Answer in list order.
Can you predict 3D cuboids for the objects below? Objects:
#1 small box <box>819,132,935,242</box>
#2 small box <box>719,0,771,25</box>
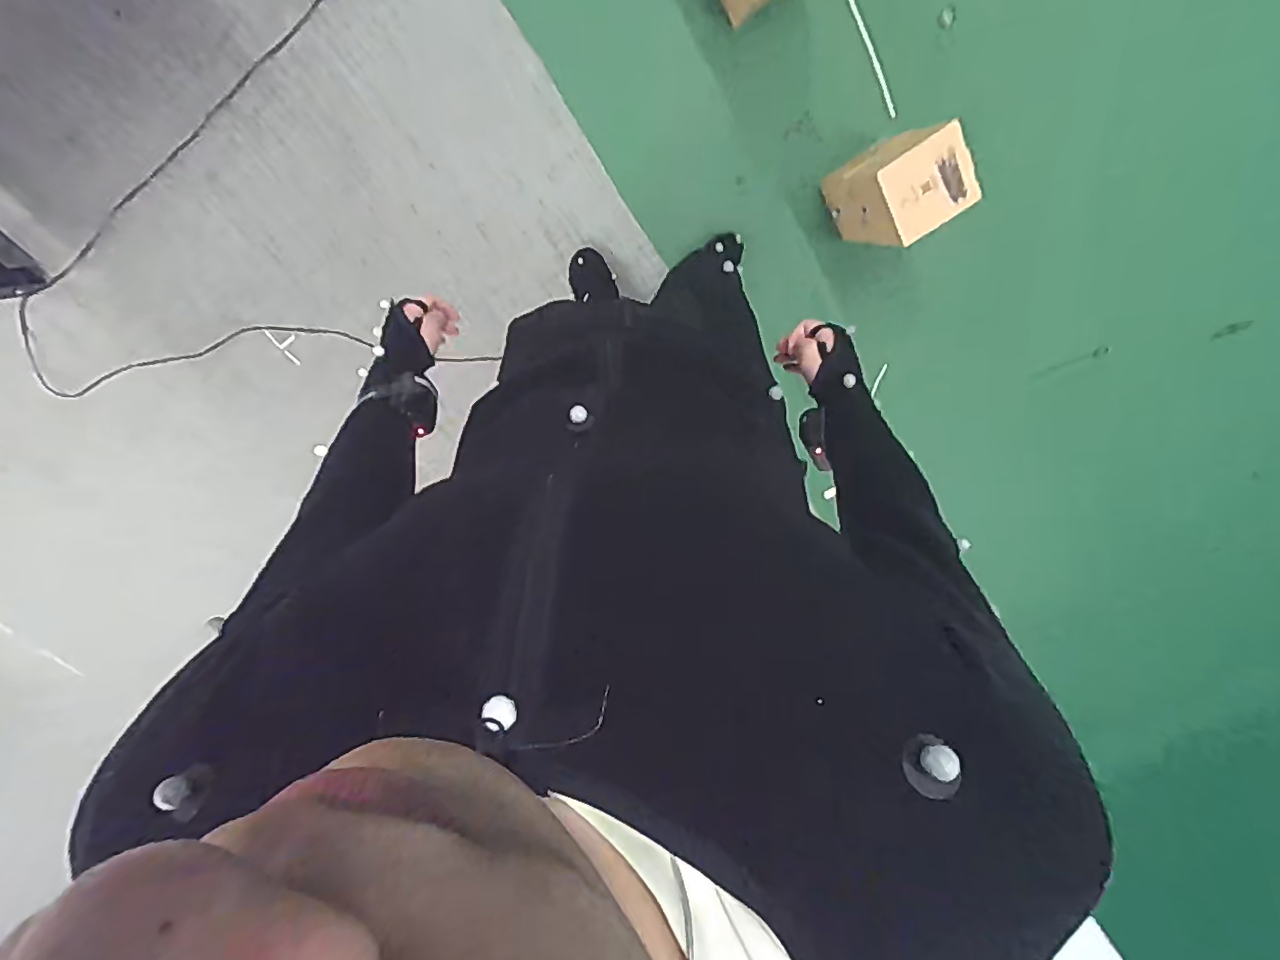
[{"bbox_3d":[0.569,-0.706,1.313,0.179,0.176,0.168,-30,113,12],"label":"small box"},{"bbox_3d":[0.242,-1.097,1.109,0.179,0.176,0.168,-32,112,13],"label":"small box"}]
